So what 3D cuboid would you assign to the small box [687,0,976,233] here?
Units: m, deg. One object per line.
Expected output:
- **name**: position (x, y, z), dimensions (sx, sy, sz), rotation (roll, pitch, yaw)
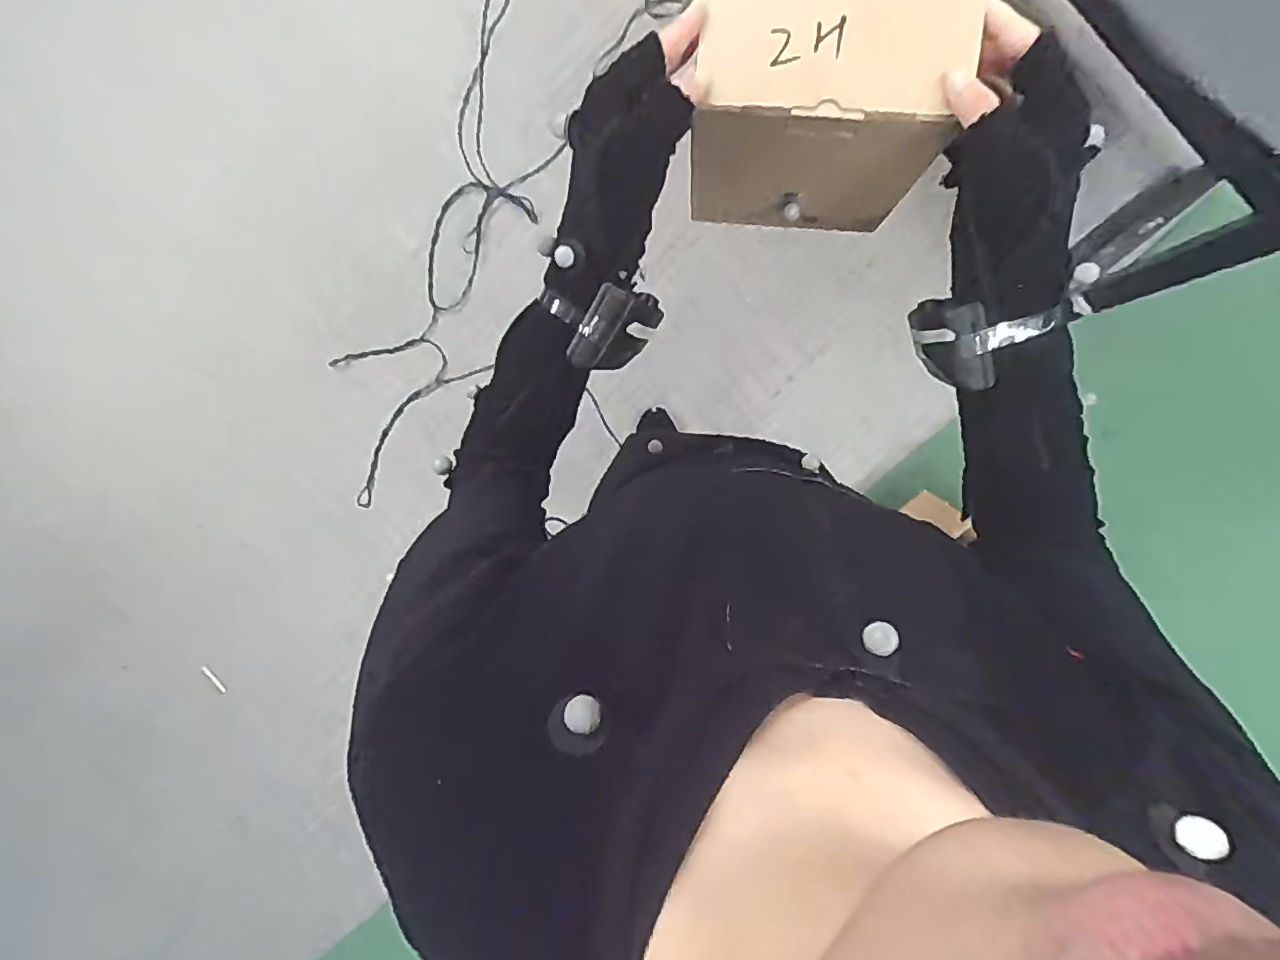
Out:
- **small box**: position (0.125, -0.312, 0.404), dimensions (0.168, 0.176, 0.179), rotation (6, 93, 5)
